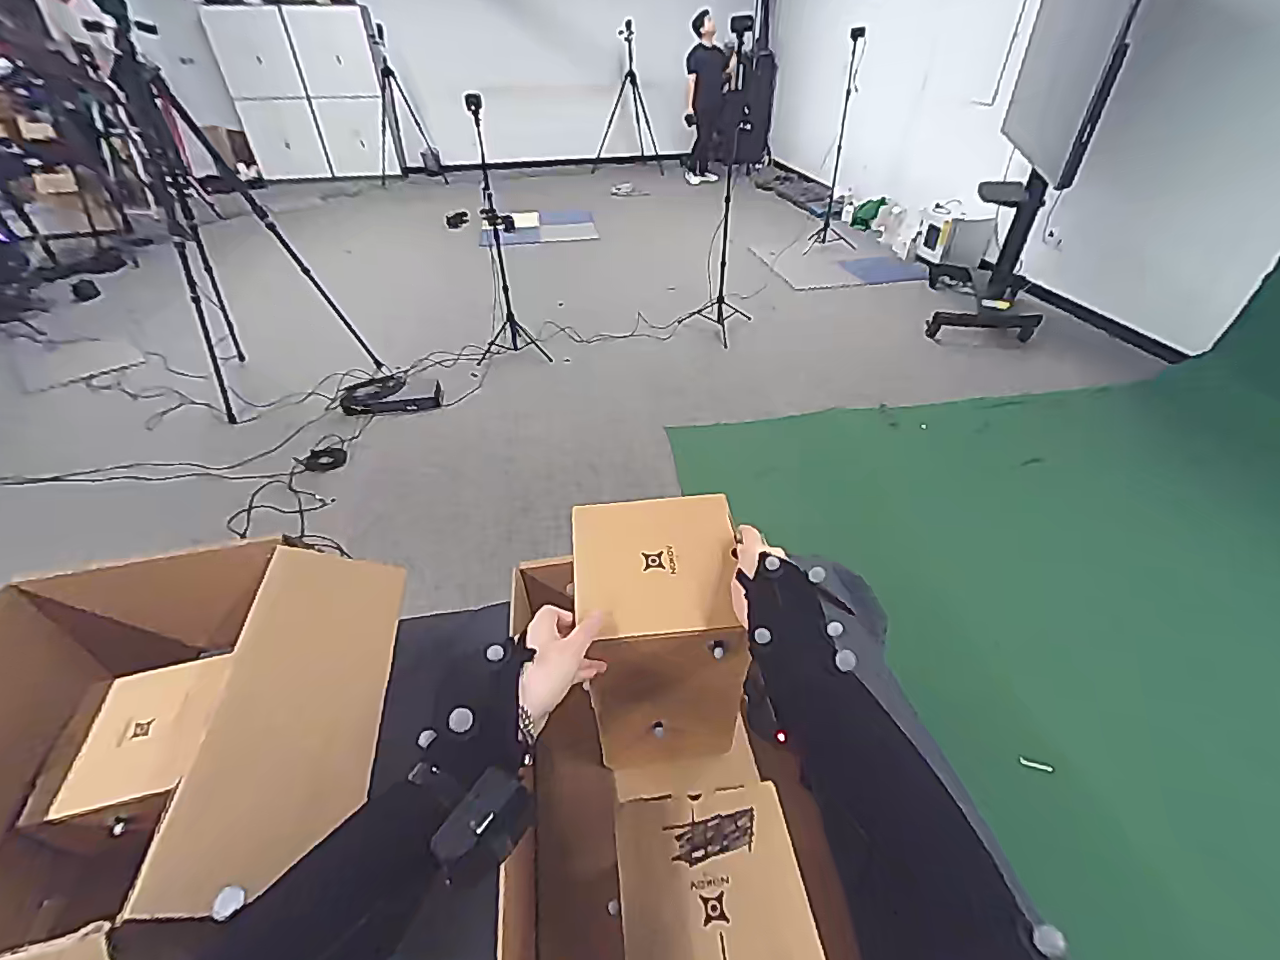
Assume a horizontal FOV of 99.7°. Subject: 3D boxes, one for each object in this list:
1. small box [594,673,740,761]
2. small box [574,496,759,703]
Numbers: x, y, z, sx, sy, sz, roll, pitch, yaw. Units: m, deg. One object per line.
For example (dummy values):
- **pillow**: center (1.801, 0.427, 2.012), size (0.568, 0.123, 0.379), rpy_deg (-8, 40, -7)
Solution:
- **small box**: center (0.028, 0.261, 0.739), size (0.179, 0.176, 0.168), rpy_deg (-7, 42, -4)
- **small box**: center (0.022, 0.139, 0.615), size (0.179, 0.176, 0.168), rpy_deg (-5, 48, -4)
